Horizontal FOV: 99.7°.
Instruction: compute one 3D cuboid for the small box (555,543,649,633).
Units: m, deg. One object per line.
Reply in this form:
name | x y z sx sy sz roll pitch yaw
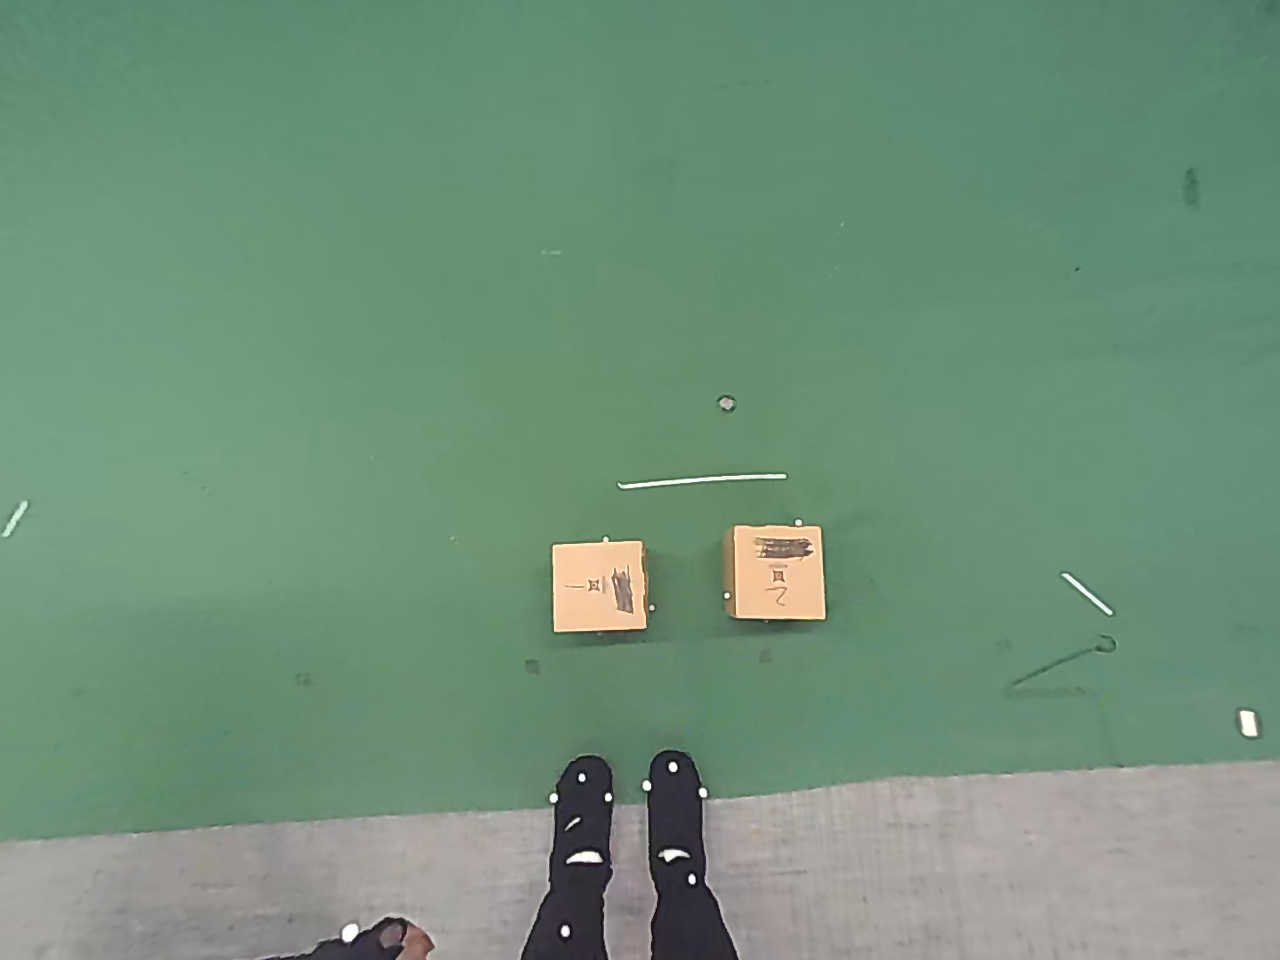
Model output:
small box | -0.071 0.217 1.099 0.179 0.176 0.168 -3 79 3
